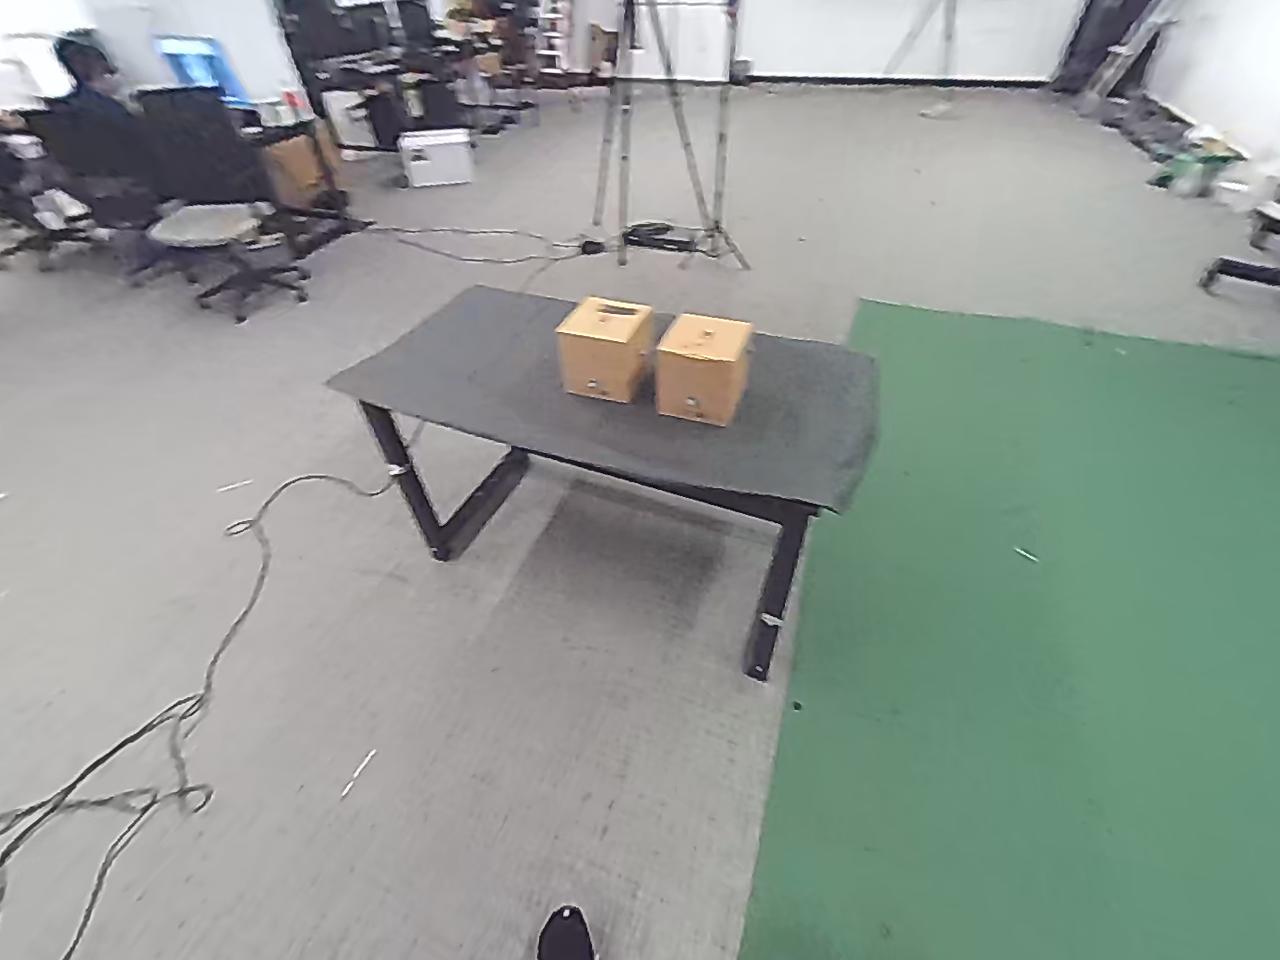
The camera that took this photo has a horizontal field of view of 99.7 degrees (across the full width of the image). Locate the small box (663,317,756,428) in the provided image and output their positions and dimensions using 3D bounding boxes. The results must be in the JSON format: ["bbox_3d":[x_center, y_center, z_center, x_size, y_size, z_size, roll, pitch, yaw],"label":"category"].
[{"bbox_3d":[0.154,-0.244,1.223,0.168,0.176,0.179,14,46,17],"label":"small box"}]
